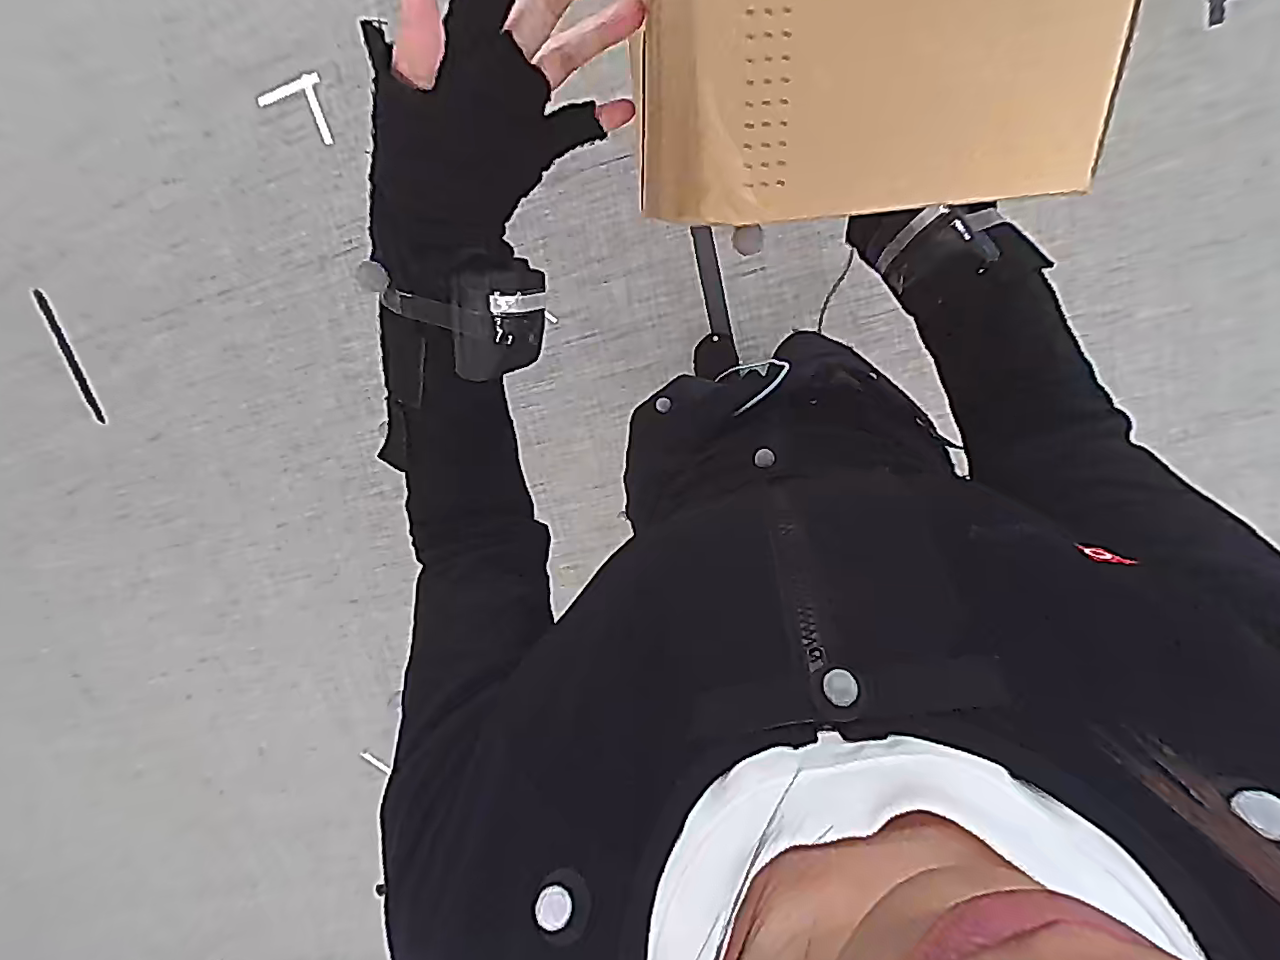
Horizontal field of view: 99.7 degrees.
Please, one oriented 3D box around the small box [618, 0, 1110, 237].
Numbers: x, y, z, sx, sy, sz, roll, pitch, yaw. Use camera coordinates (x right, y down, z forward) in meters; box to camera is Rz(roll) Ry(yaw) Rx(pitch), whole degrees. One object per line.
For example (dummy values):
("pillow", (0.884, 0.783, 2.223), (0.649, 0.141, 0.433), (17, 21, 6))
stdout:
("small box", (0.082, -0.223, 0.260), (0.176, 0.168, 0.179), (-9, 117, -6))
